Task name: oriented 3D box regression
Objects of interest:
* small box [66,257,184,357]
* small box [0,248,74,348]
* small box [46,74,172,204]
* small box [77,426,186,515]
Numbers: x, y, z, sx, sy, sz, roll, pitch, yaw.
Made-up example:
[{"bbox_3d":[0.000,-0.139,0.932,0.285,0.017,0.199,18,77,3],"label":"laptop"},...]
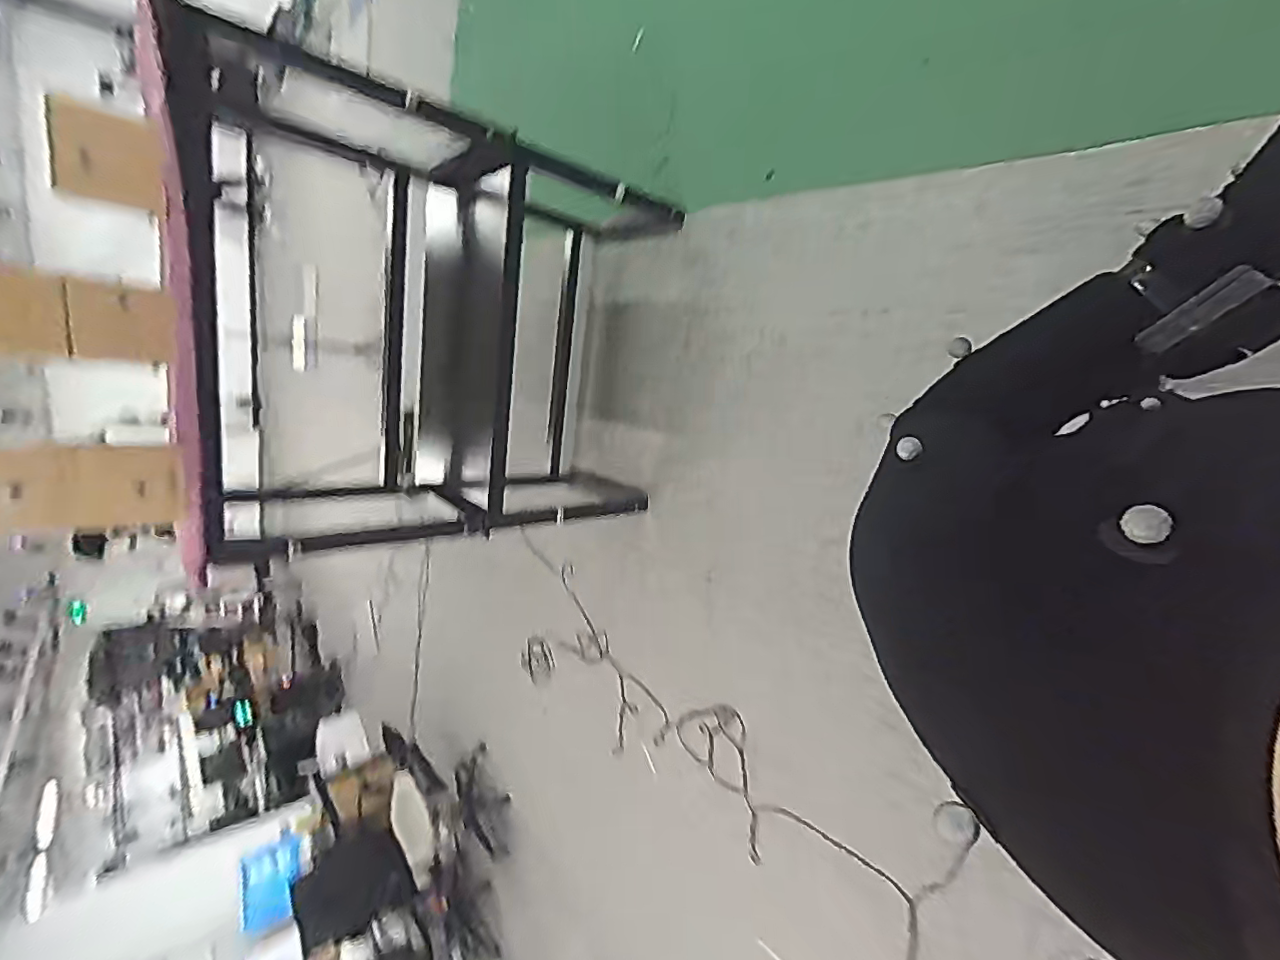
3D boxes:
[{"bbox_3d":[-1.100,-0.365,1.161,0.168,0.176,0.179,18,106,46],"label":"small box"},{"bbox_3d":[-1.221,-0.353,1.053,0.168,0.176,0.179,15,103,46],"label":"small box"},{"bbox_3d":[-1.079,-0.685,1.115,0.168,0.176,0.179,22,108,46],"label":"small box"},{"bbox_3d":[-1.125,-0.026,1.203,0.179,0.176,0.168,16,103,45],"label":"small box"}]
